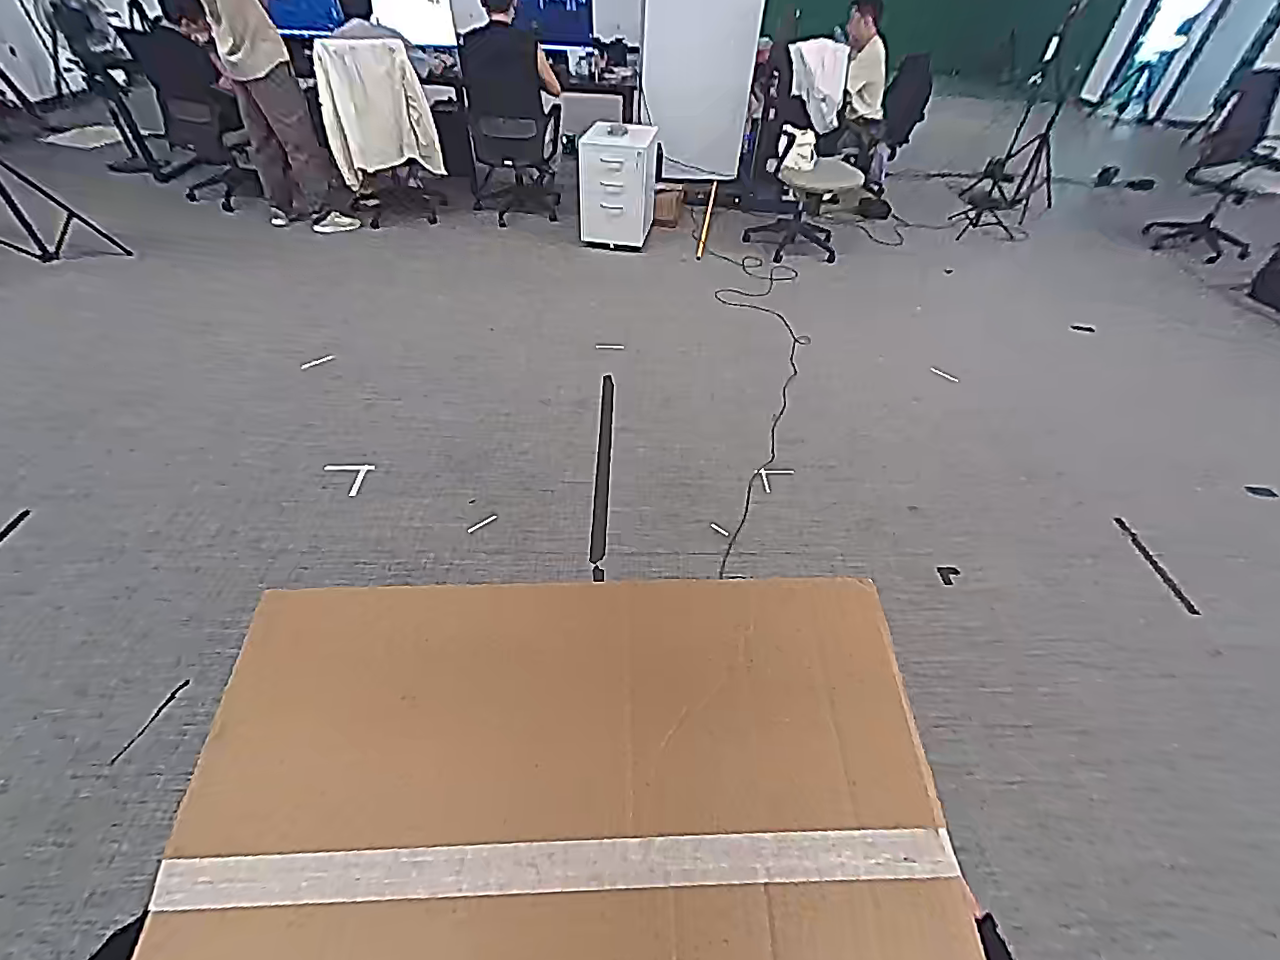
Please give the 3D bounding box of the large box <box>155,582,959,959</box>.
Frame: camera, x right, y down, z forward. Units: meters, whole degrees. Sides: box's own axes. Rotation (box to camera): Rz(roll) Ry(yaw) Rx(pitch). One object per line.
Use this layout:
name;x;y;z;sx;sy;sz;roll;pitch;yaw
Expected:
large box;-0.043;0.287;0.413;0.408;0.320;0.320;-1;57;-2
